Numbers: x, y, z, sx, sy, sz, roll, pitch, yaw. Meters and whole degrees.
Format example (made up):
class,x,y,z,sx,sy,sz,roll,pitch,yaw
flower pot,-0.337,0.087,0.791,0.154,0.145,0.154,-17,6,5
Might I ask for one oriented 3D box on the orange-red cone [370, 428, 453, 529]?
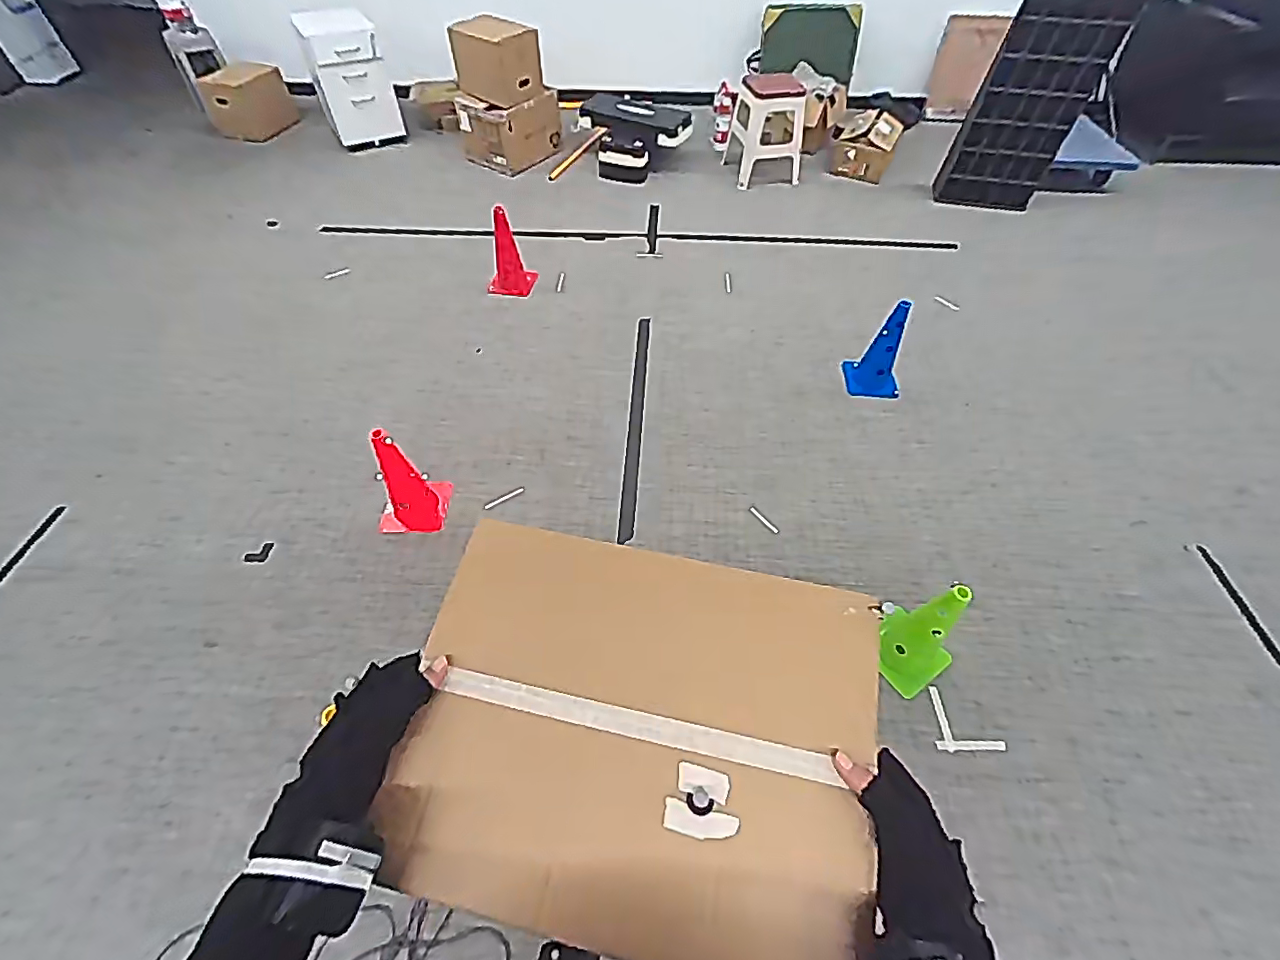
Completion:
class,x,y,z,sx,sy,sz,roll,pitch,yaw
orange-red cone,-0.728,-0.024,1.640,0.198,0.360,0.199,0,54,0

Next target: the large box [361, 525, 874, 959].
class,x,y,z,sx,sy,sz,roll,pitch,yaw
large box,0.003,0.281,0.605,0.408,0.320,0.320,11,63,8

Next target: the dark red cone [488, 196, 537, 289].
class,x,y,z,sx,sy,sz,roll,pitch,yaw
dark red cone,-0.591,-1.061,2.413,0.201,0.394,0.202,8,53,4

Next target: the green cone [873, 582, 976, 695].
class,x,y,z,sx,sy,sz,roll,pitch,yaw
green cone,0.734,0.362,1.362,0.202,0.368,0.200,-28,58,-22

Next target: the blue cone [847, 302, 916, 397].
class,x,y,z,sx,sy,sz,roll,pitch,yaw
blue cone,0.943,-0.506,2.057,0.192,0.380,0.193,6,53,2
